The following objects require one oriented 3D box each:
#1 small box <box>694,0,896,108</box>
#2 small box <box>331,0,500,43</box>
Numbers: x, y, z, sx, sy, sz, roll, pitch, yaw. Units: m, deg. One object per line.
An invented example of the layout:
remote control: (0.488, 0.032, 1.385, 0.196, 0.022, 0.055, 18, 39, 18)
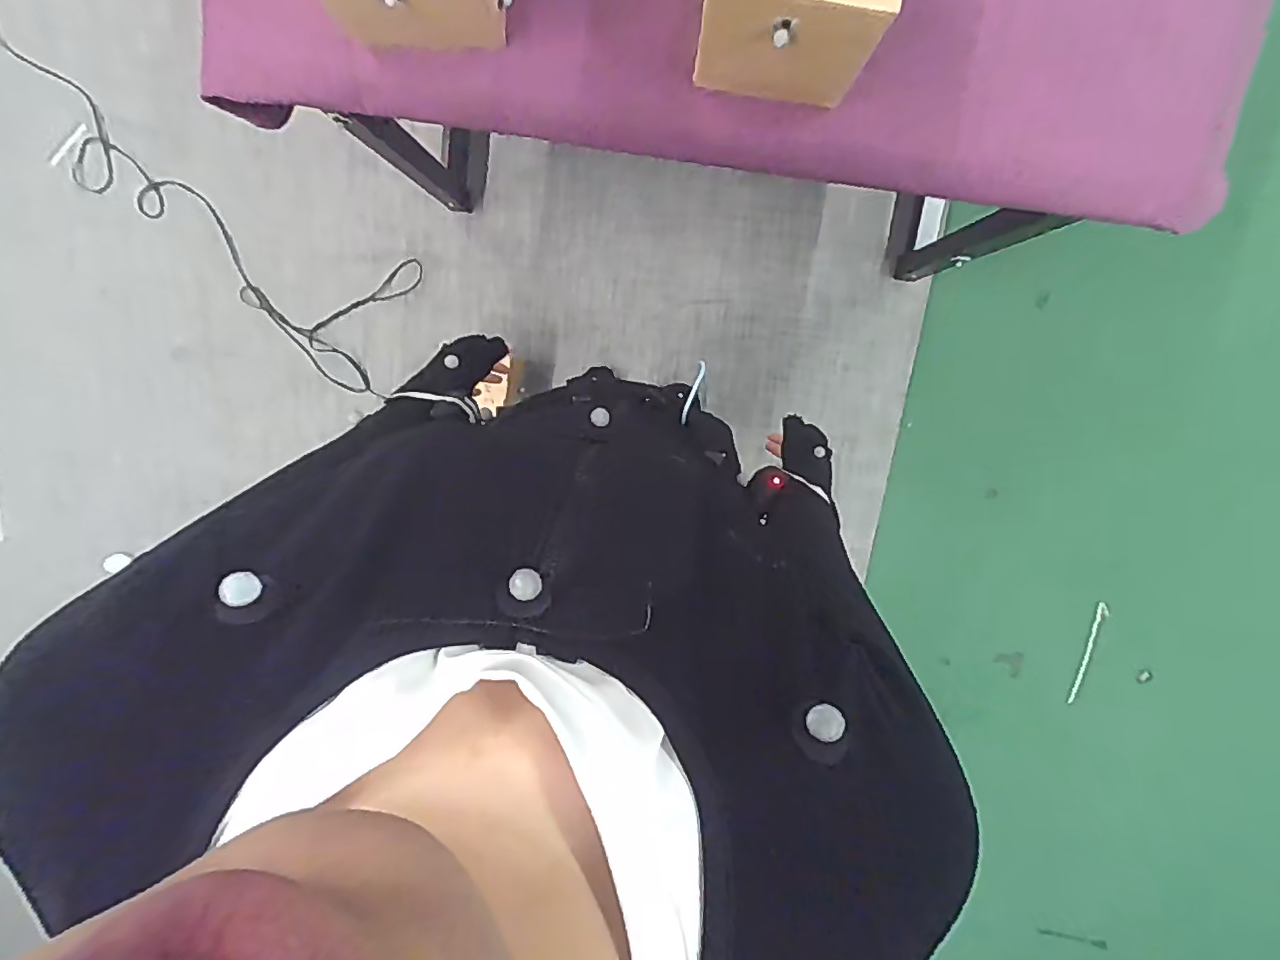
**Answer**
small box: (0.160, -0.521, 0.559, 0.179, 0.176, 0.168, 11, 100, 0)
small box: (-0.245, -0.587, 0.550, 0.179, 0.176, 0.168, 3, 100, 1)
